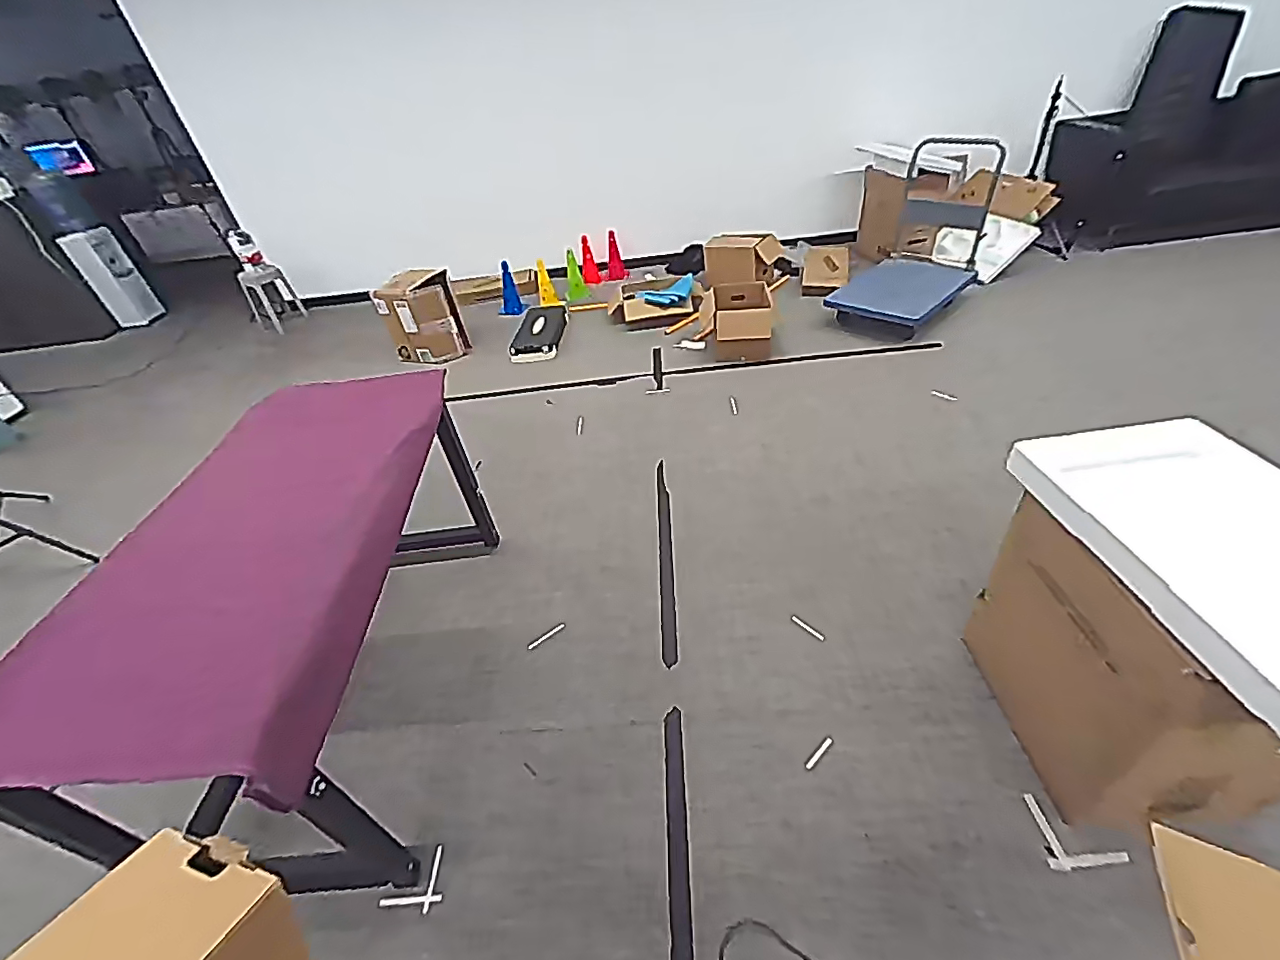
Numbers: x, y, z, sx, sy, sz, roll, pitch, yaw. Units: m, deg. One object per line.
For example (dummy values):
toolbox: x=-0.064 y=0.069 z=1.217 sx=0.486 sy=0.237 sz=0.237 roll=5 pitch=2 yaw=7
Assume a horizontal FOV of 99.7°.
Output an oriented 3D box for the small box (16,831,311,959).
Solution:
small box: x=-0.427 y=0.471 z=0.480 sx=0.168 sy=0.176 sz=0.179 roll=5 pitch=22 yaw=19
